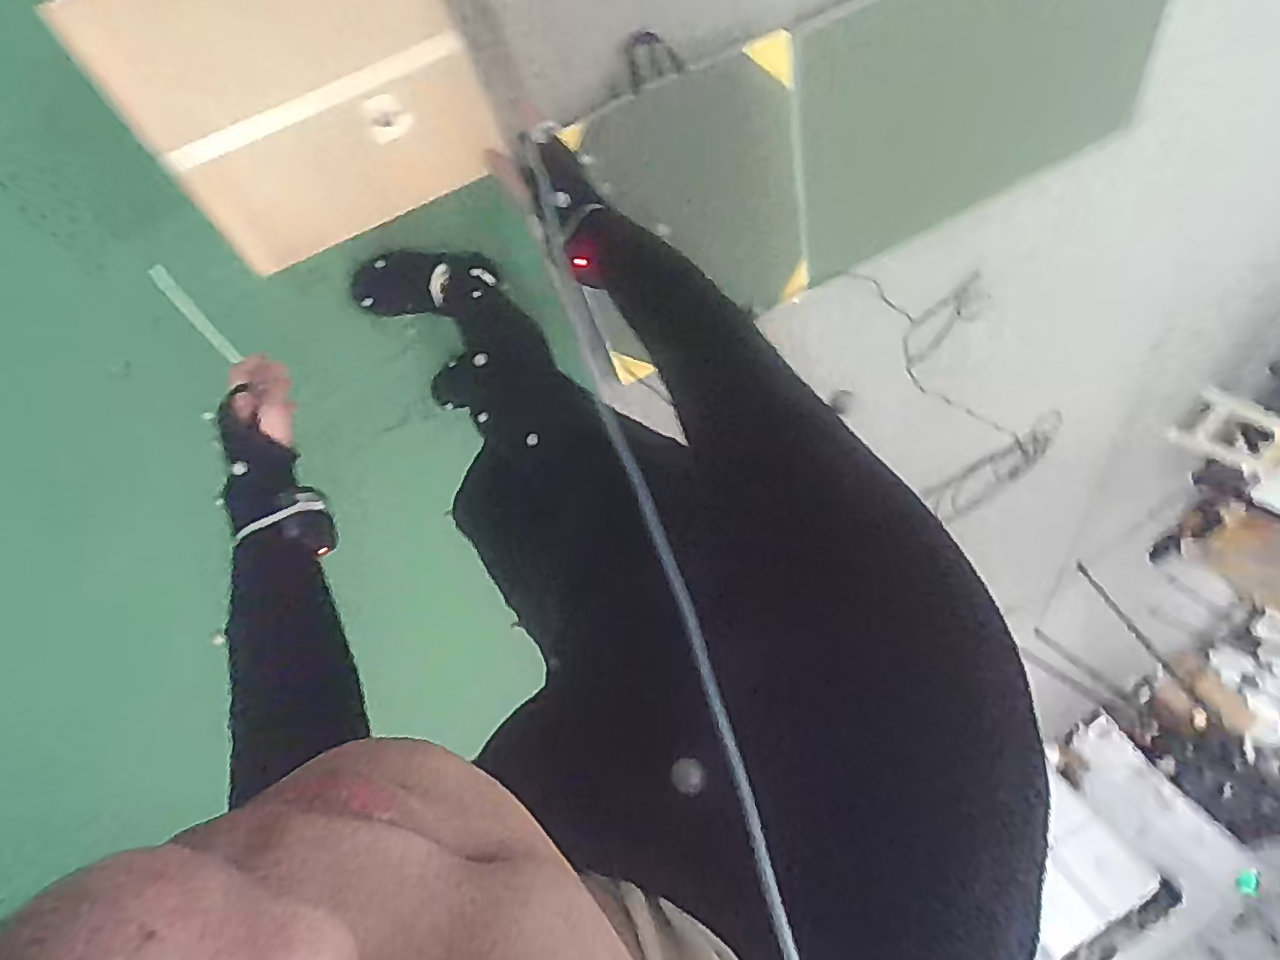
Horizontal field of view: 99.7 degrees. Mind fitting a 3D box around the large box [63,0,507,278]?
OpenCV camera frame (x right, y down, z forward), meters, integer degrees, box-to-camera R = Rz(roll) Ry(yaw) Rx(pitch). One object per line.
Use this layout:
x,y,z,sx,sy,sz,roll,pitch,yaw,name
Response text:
-0.477,-0.572,0.815,0.408,0.320,0.320,-30,134,-6,large box
